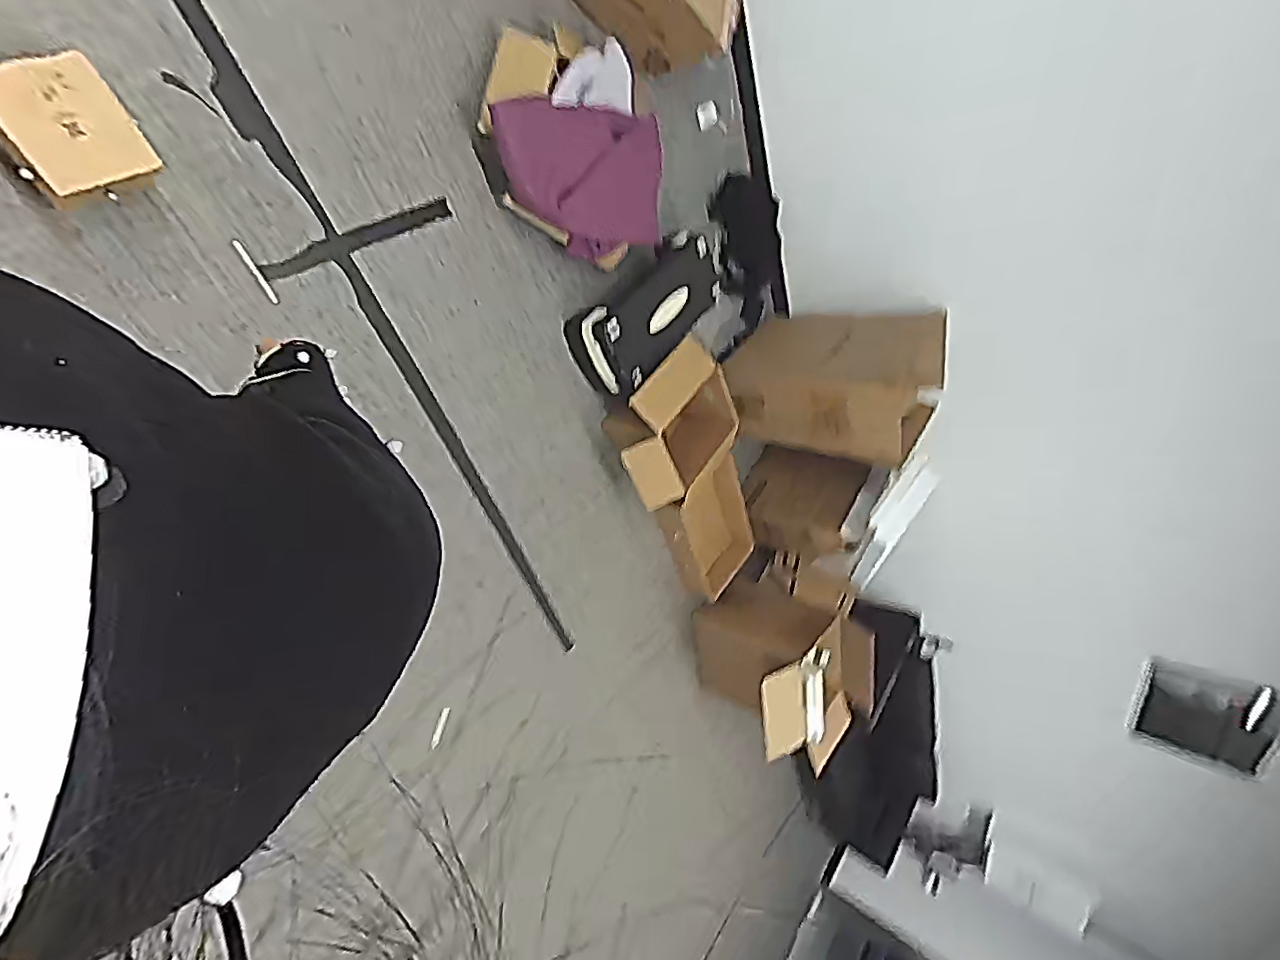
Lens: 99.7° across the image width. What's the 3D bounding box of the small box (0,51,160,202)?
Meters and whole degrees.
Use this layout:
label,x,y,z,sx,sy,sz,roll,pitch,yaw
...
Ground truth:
label,x,y,z,sx,sy,sz,roll,pitch,yaw
small box,-0.992,-0.598,0.934,0.168,0.176,0.179,-44,129,-32
